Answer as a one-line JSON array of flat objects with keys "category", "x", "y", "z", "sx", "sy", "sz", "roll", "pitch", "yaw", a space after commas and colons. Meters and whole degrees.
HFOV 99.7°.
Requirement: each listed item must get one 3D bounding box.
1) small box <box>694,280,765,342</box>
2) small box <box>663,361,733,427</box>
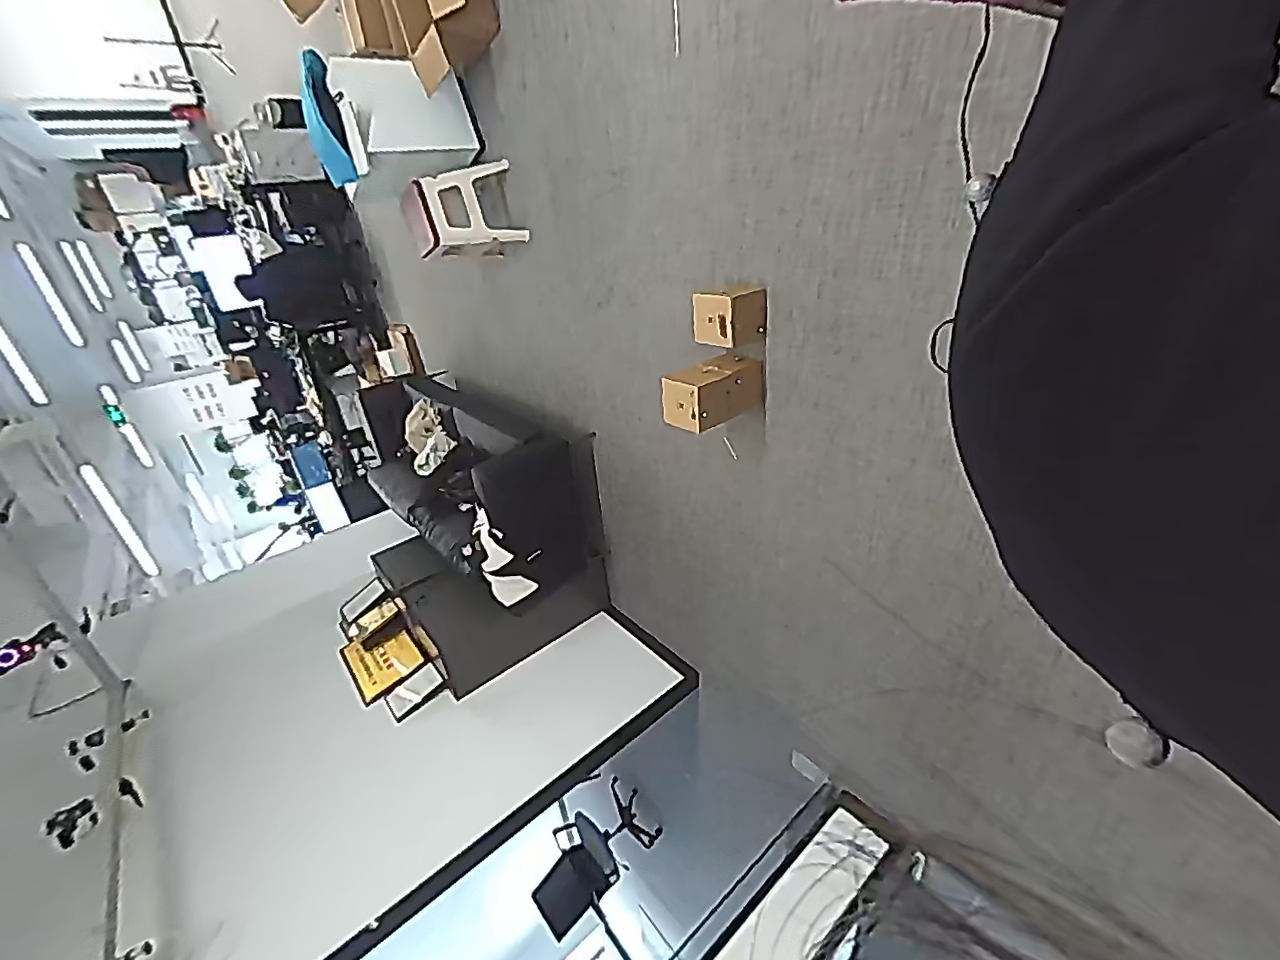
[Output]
[{"category": "small box", "x": 0.304, "y": -0.575, "z": 1.824, "sx": 0.179, "sy": 0.176, "sz": 0.168, "roll": 27, "pitch": 131, "yaw": 45}, {"category": "small box", "x": 0.199, "y": -0.302, "z": 1.857, "sx": 0.179, "sy": 0.176, "sz": 0.168, "roll": 28, "pitch": 133, "yaw": 44}]
